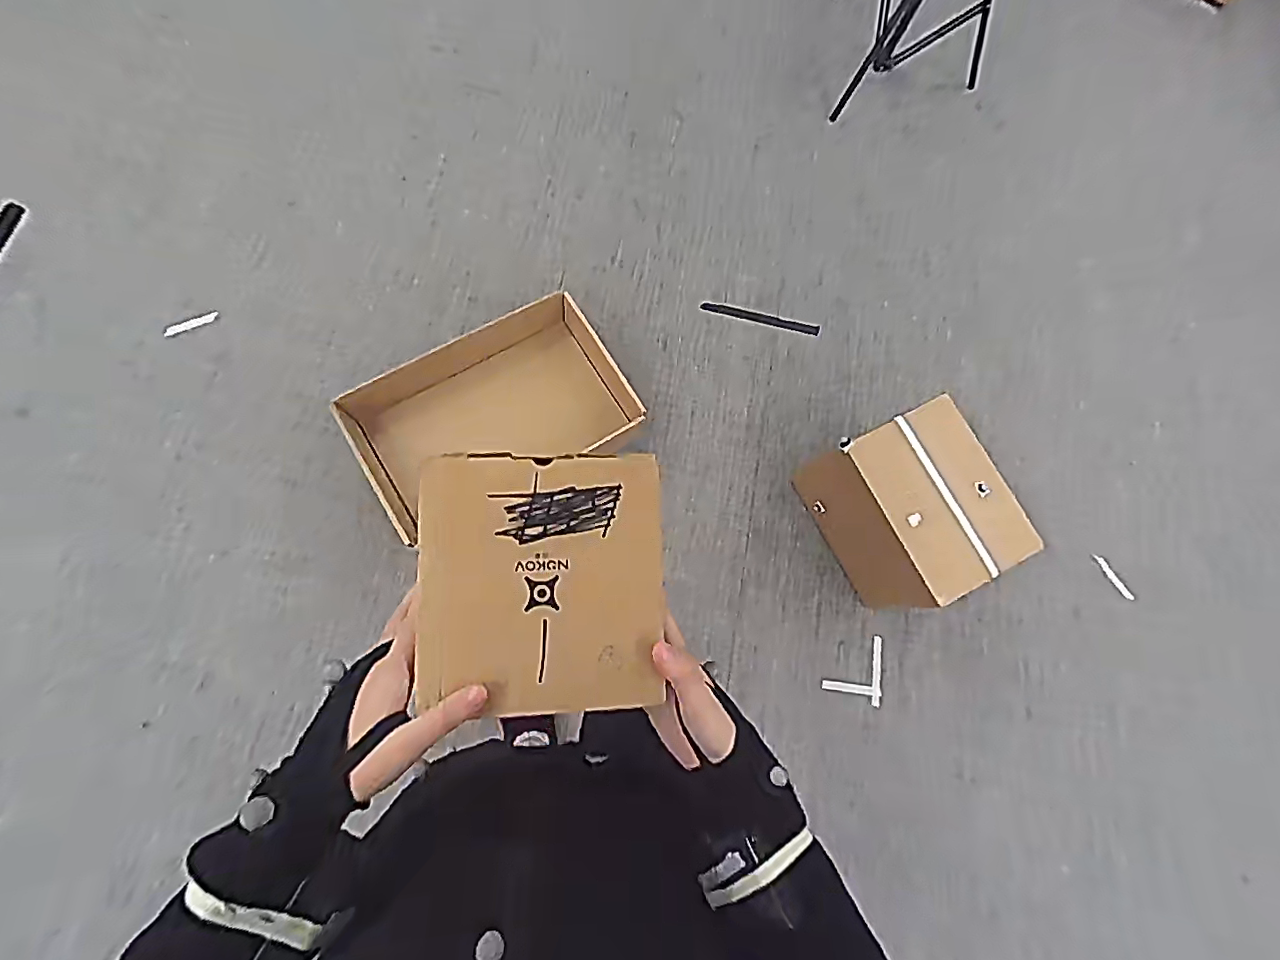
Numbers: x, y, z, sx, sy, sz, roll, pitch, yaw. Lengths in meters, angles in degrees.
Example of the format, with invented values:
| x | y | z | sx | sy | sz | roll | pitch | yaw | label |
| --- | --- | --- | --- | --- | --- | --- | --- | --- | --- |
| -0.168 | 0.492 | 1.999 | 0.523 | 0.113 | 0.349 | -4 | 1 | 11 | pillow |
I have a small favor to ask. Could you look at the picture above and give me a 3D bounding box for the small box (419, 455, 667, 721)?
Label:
| x | y | z | sx | sy | sz | roll | pitch | yaw | label |
| --- | --- | --- | --- | --- | --- | --- | --- | --- | --- |
| -0.077 | 0.081 | 0.449 | 0.168 | 0.176 | 0.179 | -1 | 82 | -9 | small box |
